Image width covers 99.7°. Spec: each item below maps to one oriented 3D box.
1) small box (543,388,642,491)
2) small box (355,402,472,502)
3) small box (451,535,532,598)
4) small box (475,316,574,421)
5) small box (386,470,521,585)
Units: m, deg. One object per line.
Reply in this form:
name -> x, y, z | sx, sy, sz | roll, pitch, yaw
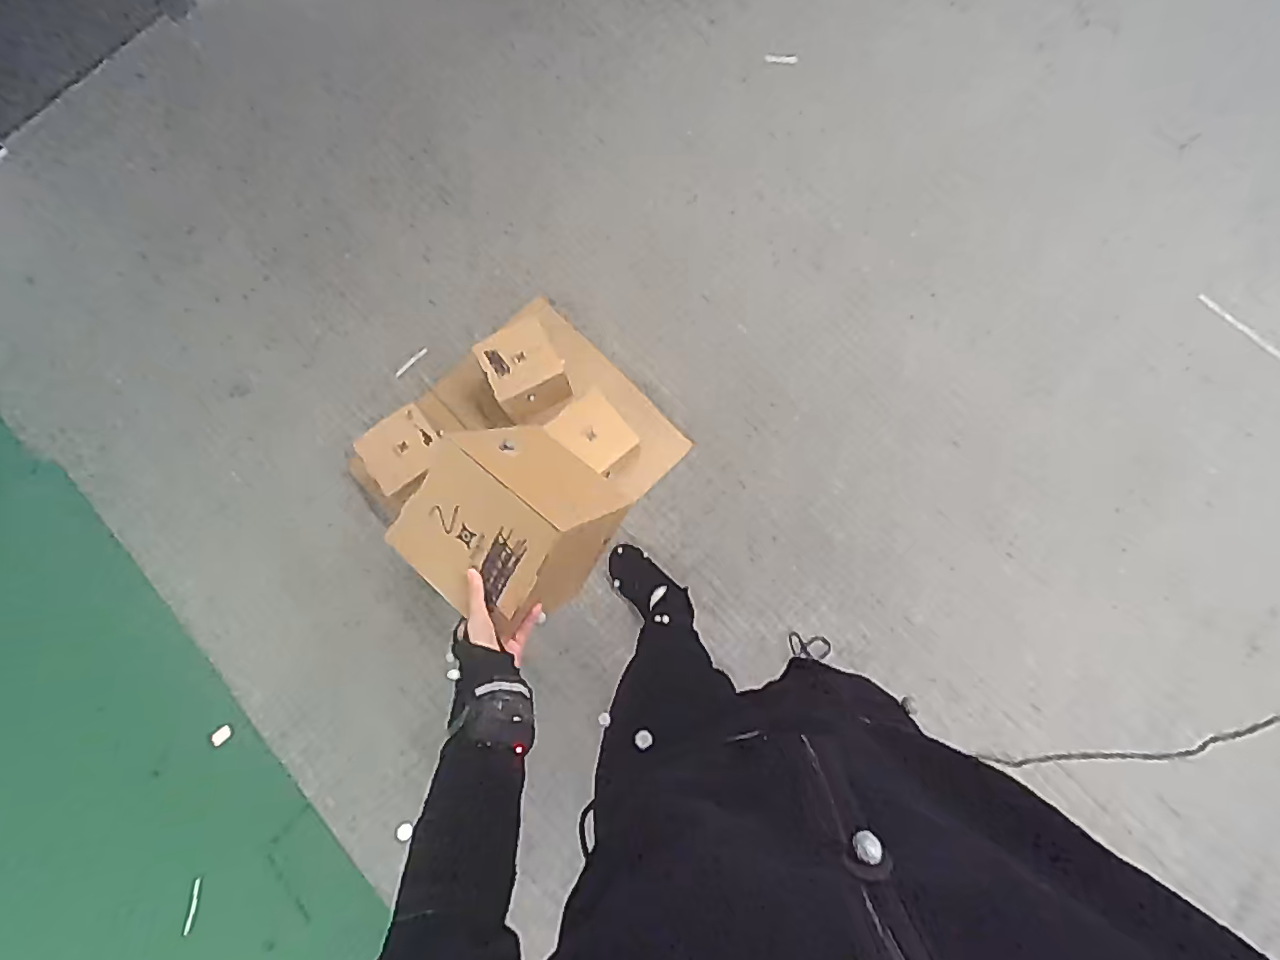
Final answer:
small box -> -0.107, -0.089, 1.322 | 0.168, 0.176, 0.179 | -39, 80, -6
small box -> -0.548, -0.058, 1.332 | 0.179, 0.176, 0.168 | -36, 80, -5
small box -> -0.381, 0.159, 1.286 | 0.168, 0.176, 0.179 | -38, 80, -6
small box -> -0.282, -0.272, 1.361 | 0.179, 0.176, 0.168 | -27, 79, -5
small box -> -0.379, 0.106, 1.129 | 0.179, 0.176, 0.168 | 34, 83, 7
